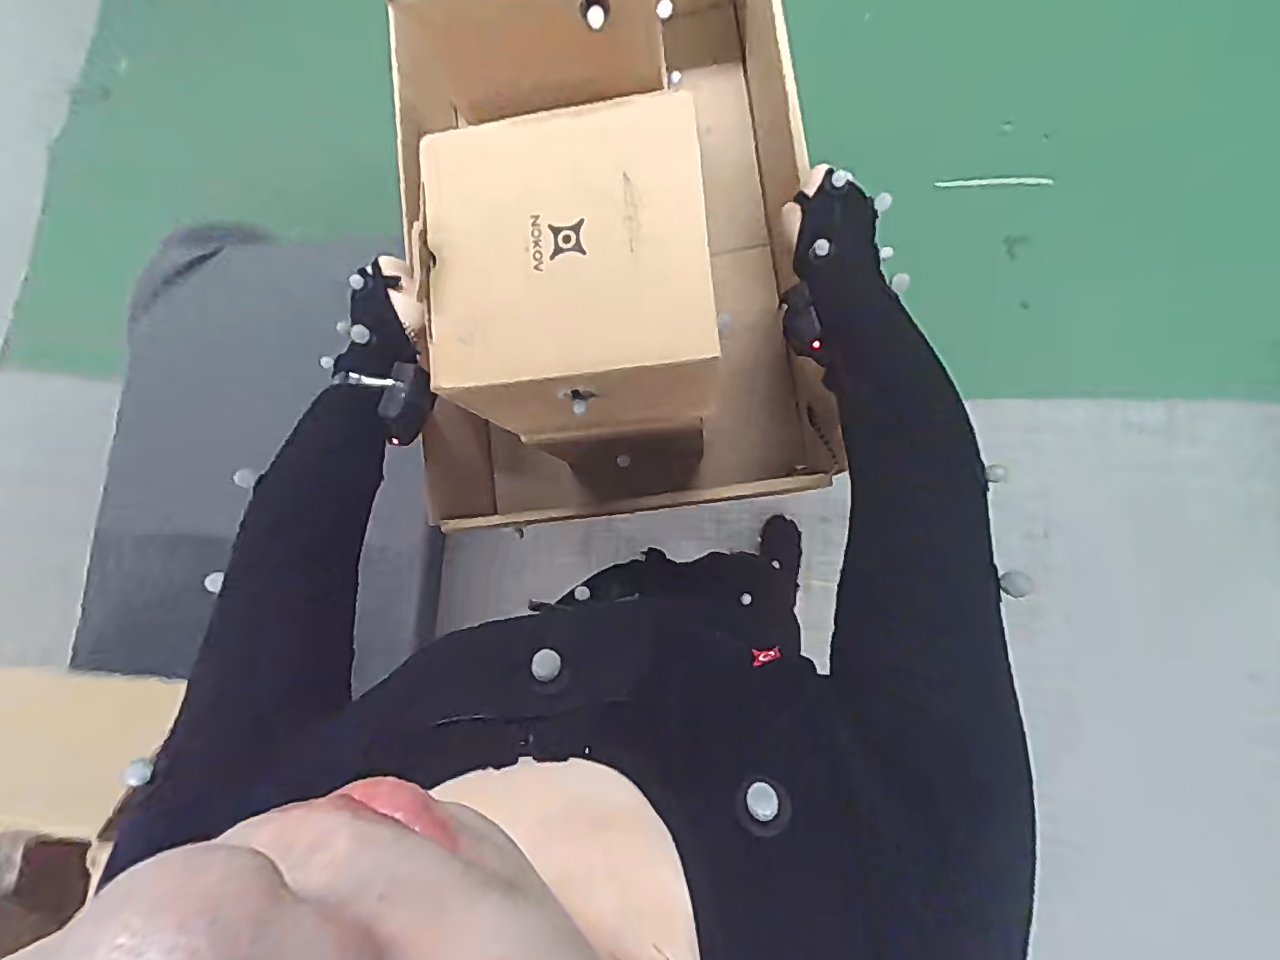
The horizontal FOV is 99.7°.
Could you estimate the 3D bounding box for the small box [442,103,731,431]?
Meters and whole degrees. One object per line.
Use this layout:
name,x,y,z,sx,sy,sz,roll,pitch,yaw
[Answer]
small box,-0.027,-0.135,0.408,0.179,0.176,0.168,-5,86,6
